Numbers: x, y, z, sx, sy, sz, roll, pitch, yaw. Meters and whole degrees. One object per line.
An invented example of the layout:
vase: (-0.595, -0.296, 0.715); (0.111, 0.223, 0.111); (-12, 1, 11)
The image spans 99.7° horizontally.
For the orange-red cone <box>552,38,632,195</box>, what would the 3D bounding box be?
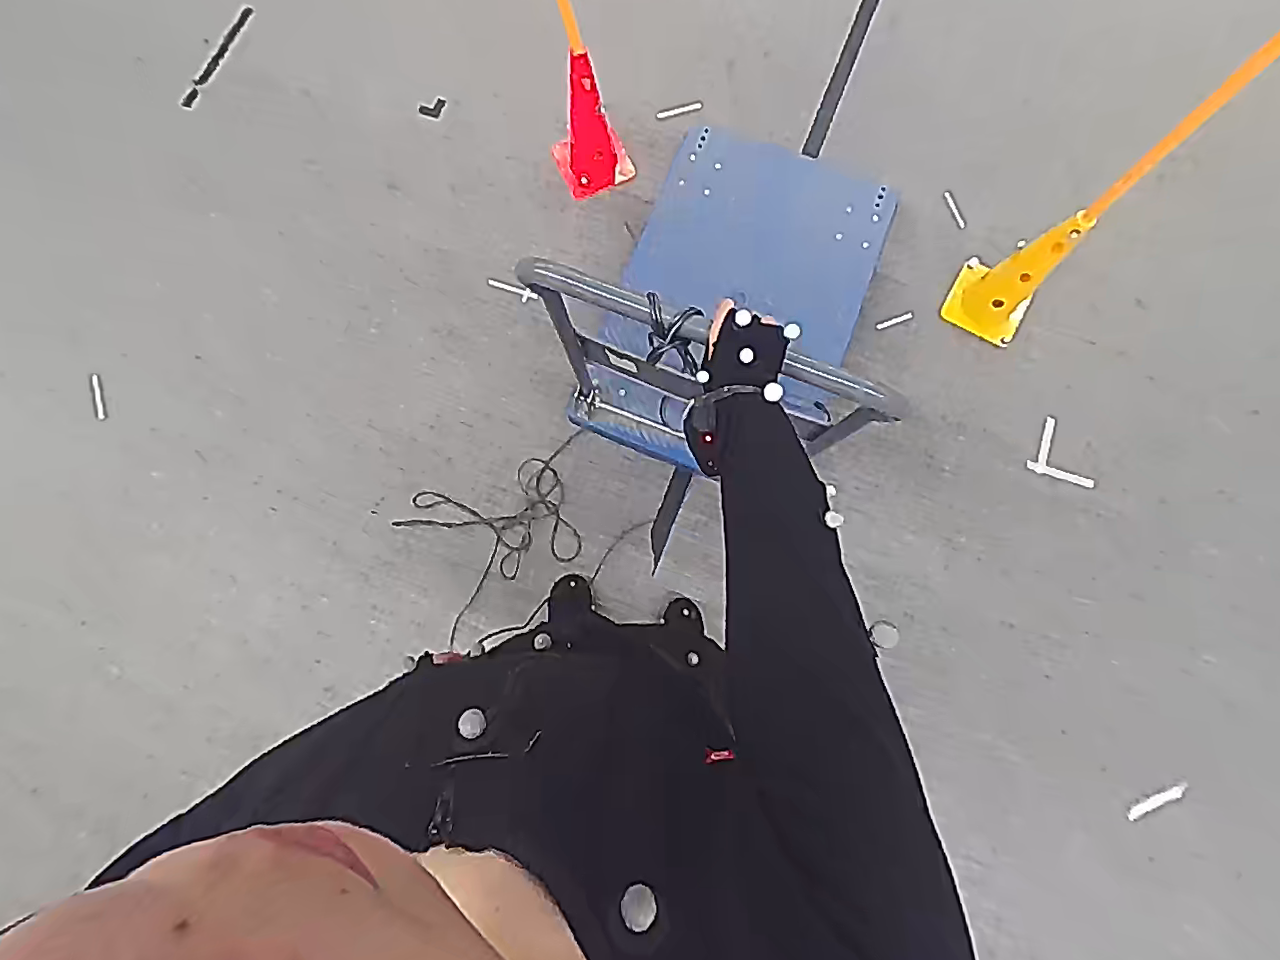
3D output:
orange-red cone: (-0.141, -0.976, 1.421); (0.199, 0.360, 0.198); (-23, 81, -4)
